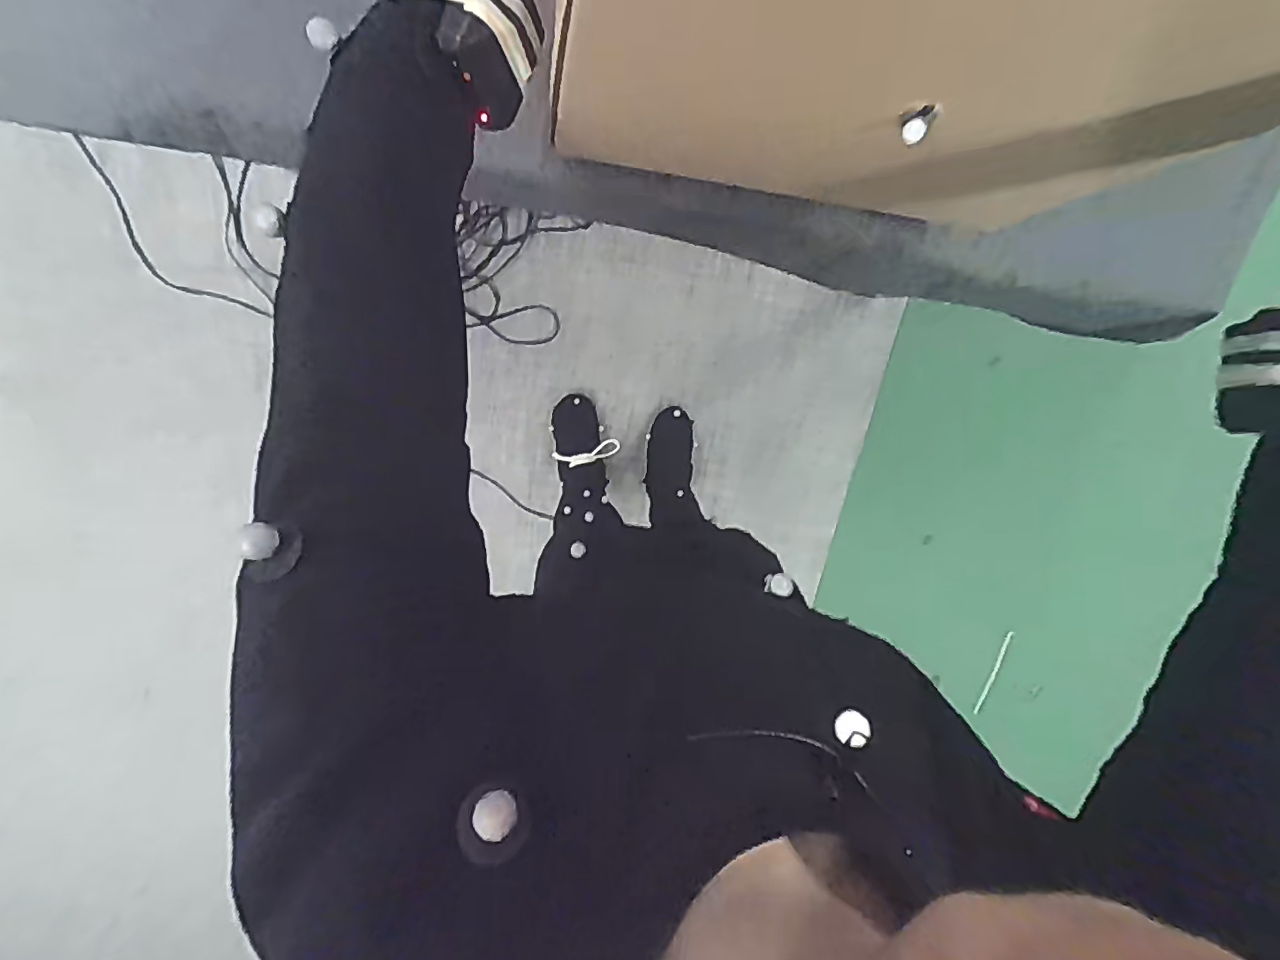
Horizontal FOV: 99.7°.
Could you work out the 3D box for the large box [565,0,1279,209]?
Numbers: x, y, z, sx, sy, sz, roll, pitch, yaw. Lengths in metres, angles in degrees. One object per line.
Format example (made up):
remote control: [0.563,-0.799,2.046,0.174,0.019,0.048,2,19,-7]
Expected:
large box: [0.174,-0.377,0.301,0.408,0.320,0.320,2,98,-12]
